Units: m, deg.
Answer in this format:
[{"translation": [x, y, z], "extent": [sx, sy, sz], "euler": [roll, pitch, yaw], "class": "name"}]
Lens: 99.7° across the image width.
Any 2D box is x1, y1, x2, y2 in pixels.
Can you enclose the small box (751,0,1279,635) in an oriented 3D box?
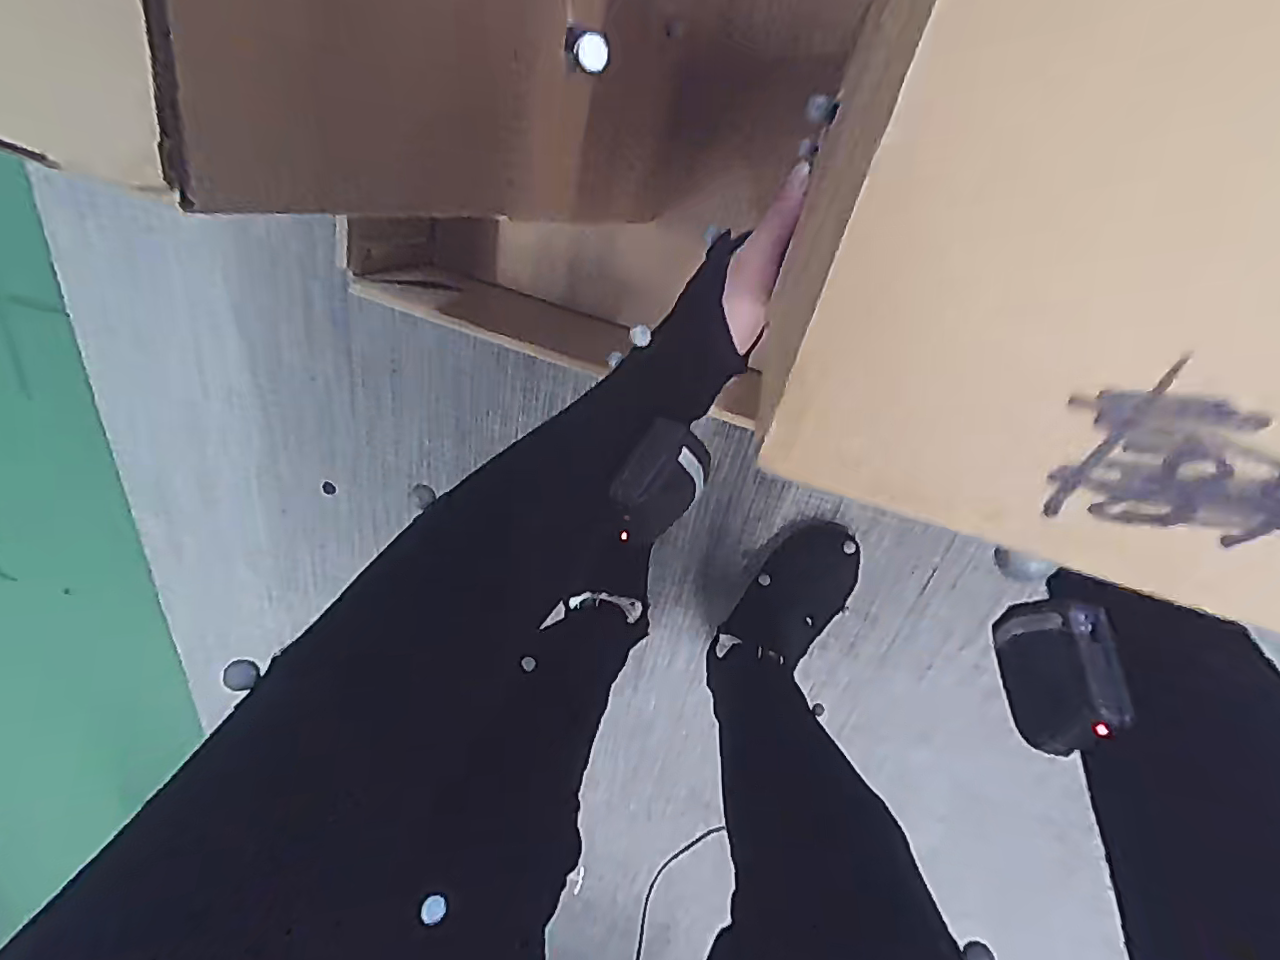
[{"translation": [0.132, -0.085, 0.125], "extent": [0.168, 0.176, 0.179], "euler": [18, 118, 6], "class": "small box"}]
